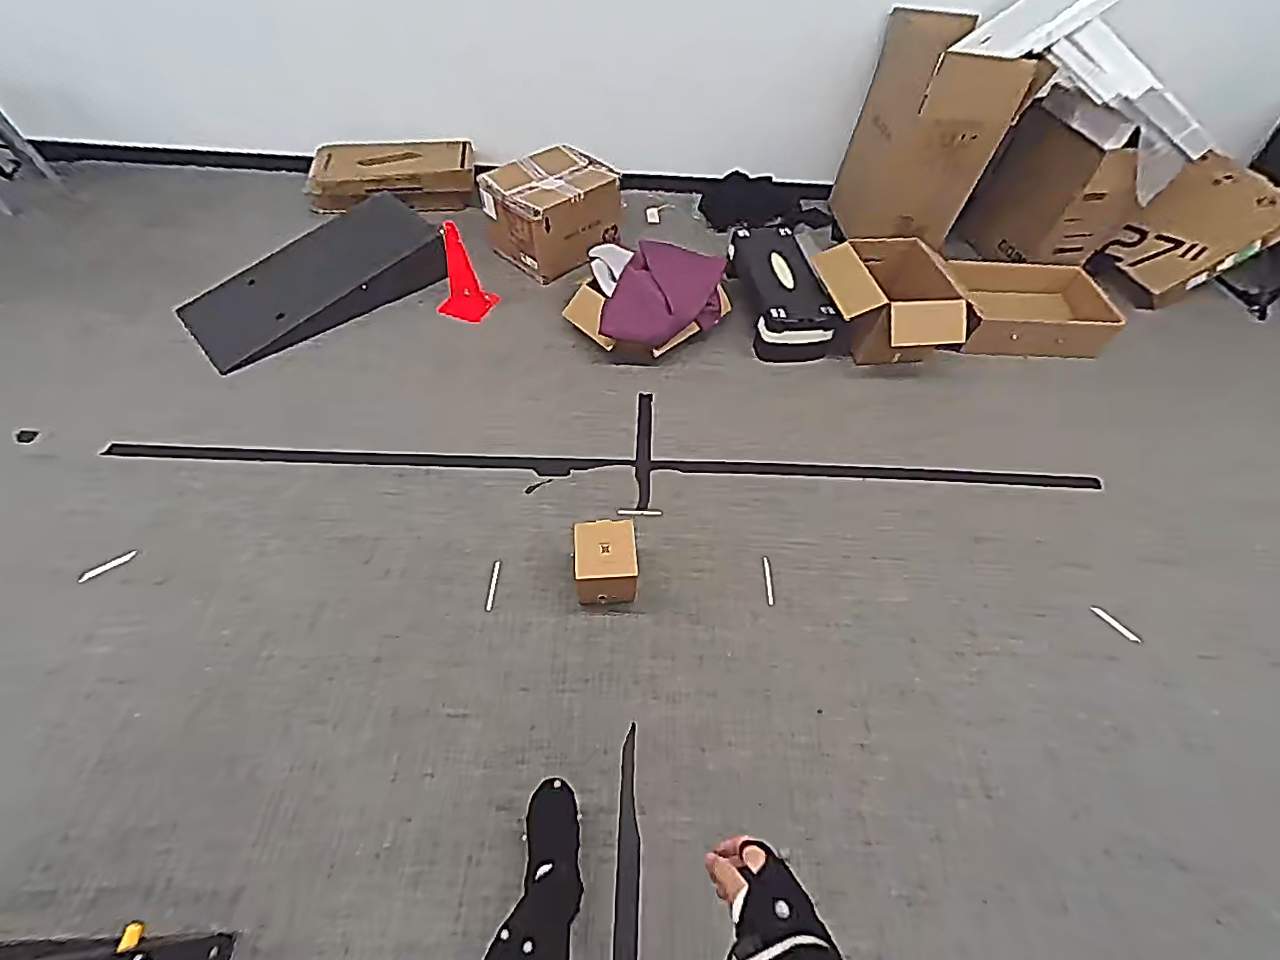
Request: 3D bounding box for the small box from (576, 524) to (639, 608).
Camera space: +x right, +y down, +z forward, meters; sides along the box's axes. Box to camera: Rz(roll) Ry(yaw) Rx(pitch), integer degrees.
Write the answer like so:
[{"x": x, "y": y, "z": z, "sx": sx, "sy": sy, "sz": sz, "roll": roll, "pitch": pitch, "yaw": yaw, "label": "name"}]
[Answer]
[{"x": -0.095, "y": 0.242, "z": 1.516, "sx": 0.168, "sy": 0.176, "sz": 0.179, "roll": -4, "pitch": 55, "yaw": -5, "label": "small box"}]
